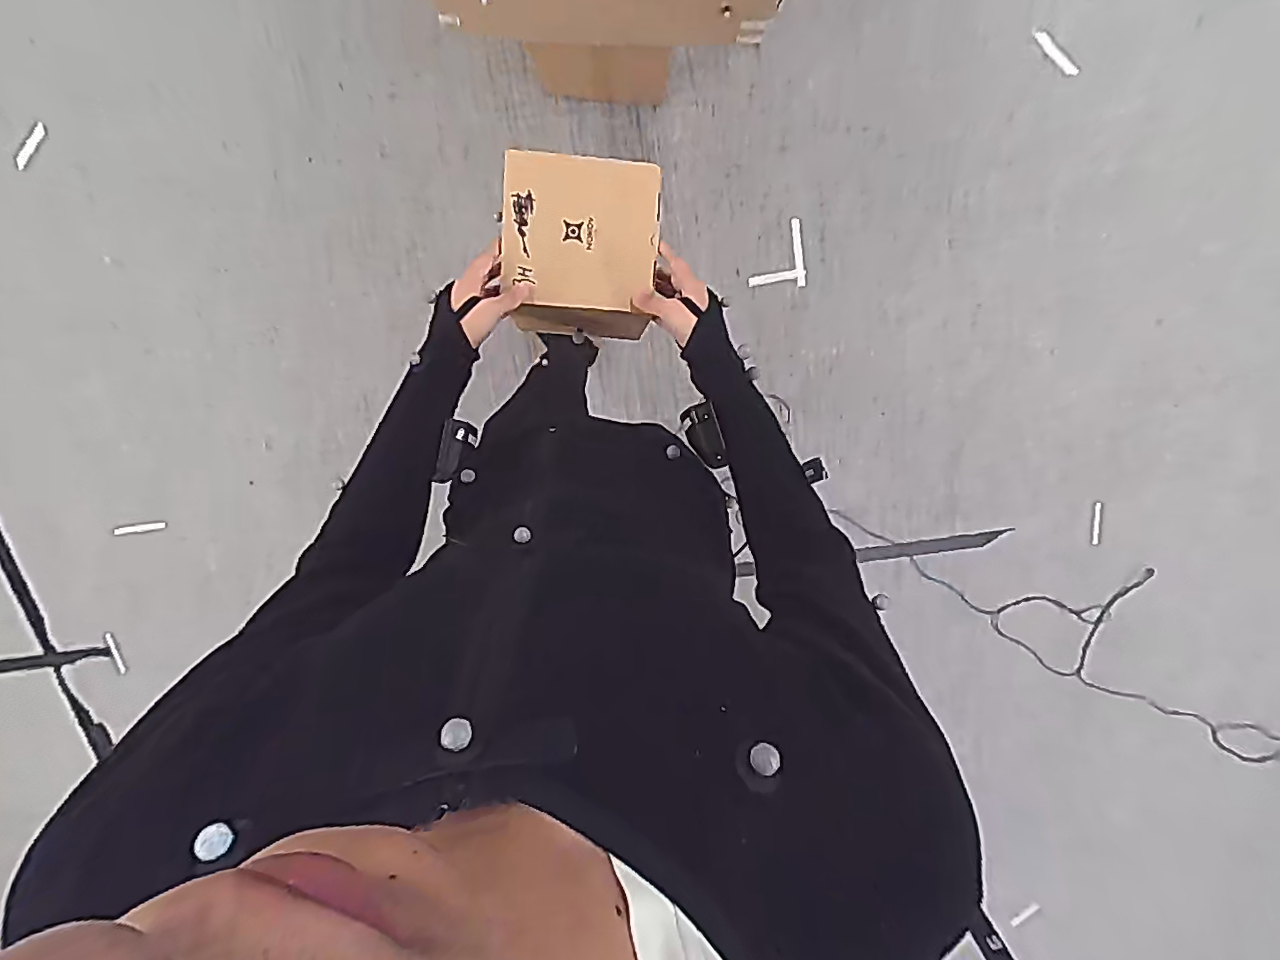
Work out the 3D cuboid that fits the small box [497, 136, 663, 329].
[{"bbox_3d":[-0.075,-0.291,0.678,0.179,0.176,0.168,4,94,-6],"label":"small box"}]
